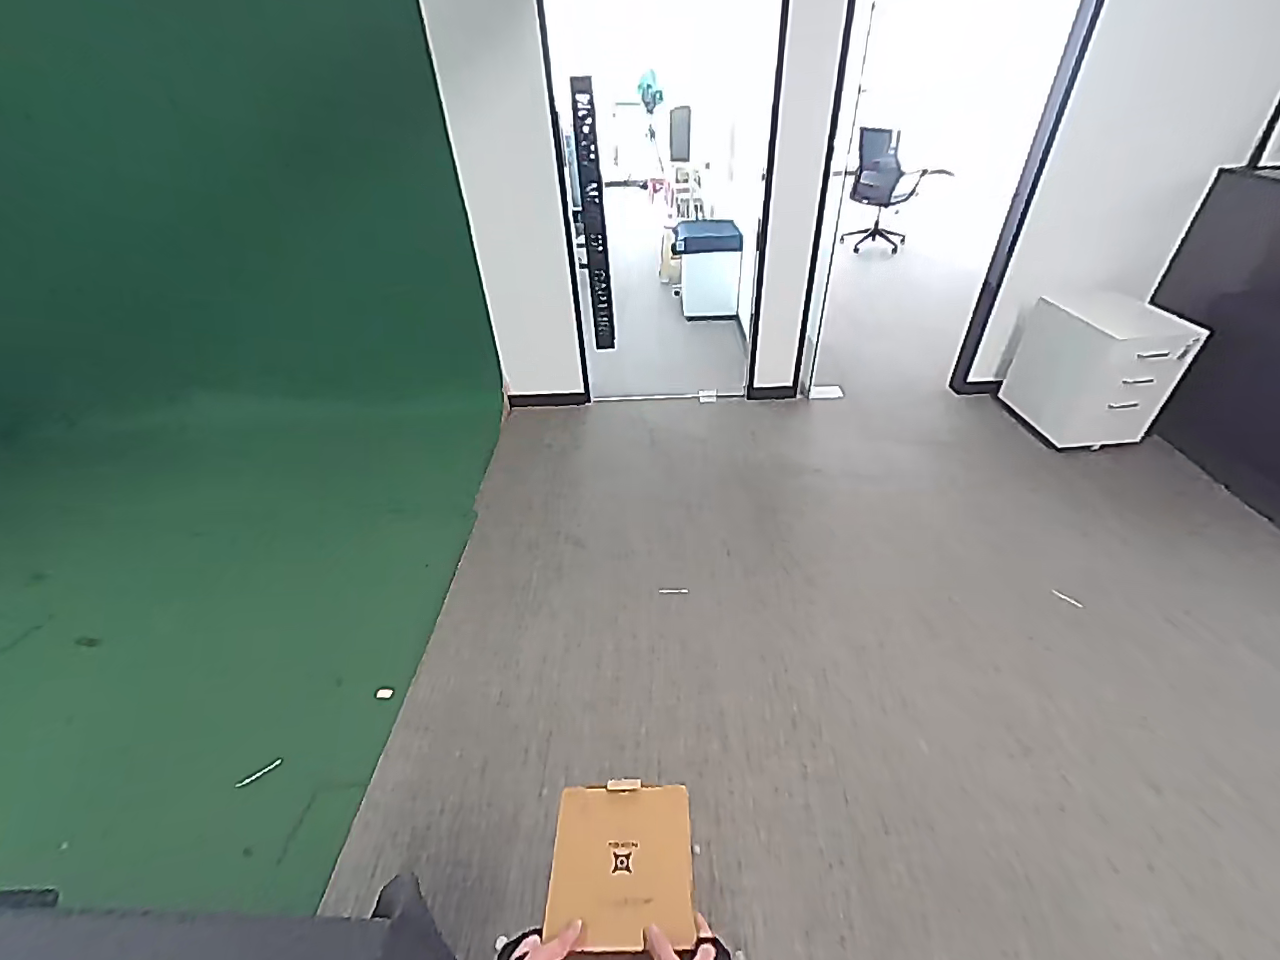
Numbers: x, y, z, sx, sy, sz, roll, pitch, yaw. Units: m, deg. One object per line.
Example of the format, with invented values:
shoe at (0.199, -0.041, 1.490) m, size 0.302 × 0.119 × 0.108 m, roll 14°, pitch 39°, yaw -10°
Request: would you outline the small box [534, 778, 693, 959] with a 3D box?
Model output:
small box at (-0.020, 0.499, 0.663) m, size 0.168 × 0.176 × 0.179 m, roll -2°, pitch 30°, yaw 4°
